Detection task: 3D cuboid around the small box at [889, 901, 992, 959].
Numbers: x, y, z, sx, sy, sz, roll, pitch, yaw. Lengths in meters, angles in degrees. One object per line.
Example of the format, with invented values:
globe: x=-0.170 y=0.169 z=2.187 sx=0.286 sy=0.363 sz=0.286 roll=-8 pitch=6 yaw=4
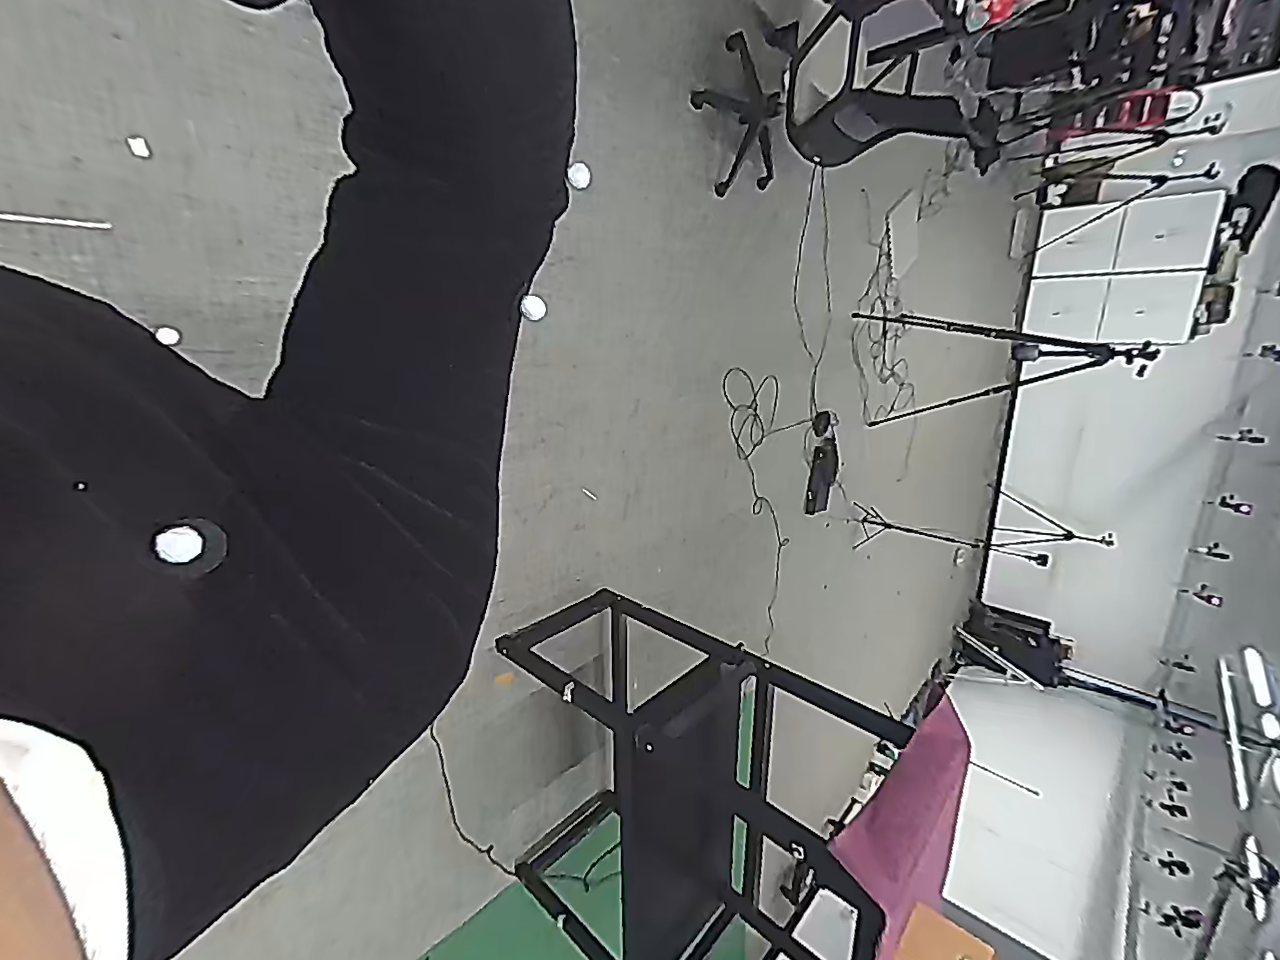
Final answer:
small box: x=0.656 y=1.105 z=1.202 sx=0.179 sy=0.176 sz=0.168 roll=-18 pitch=113 yaw=-45
